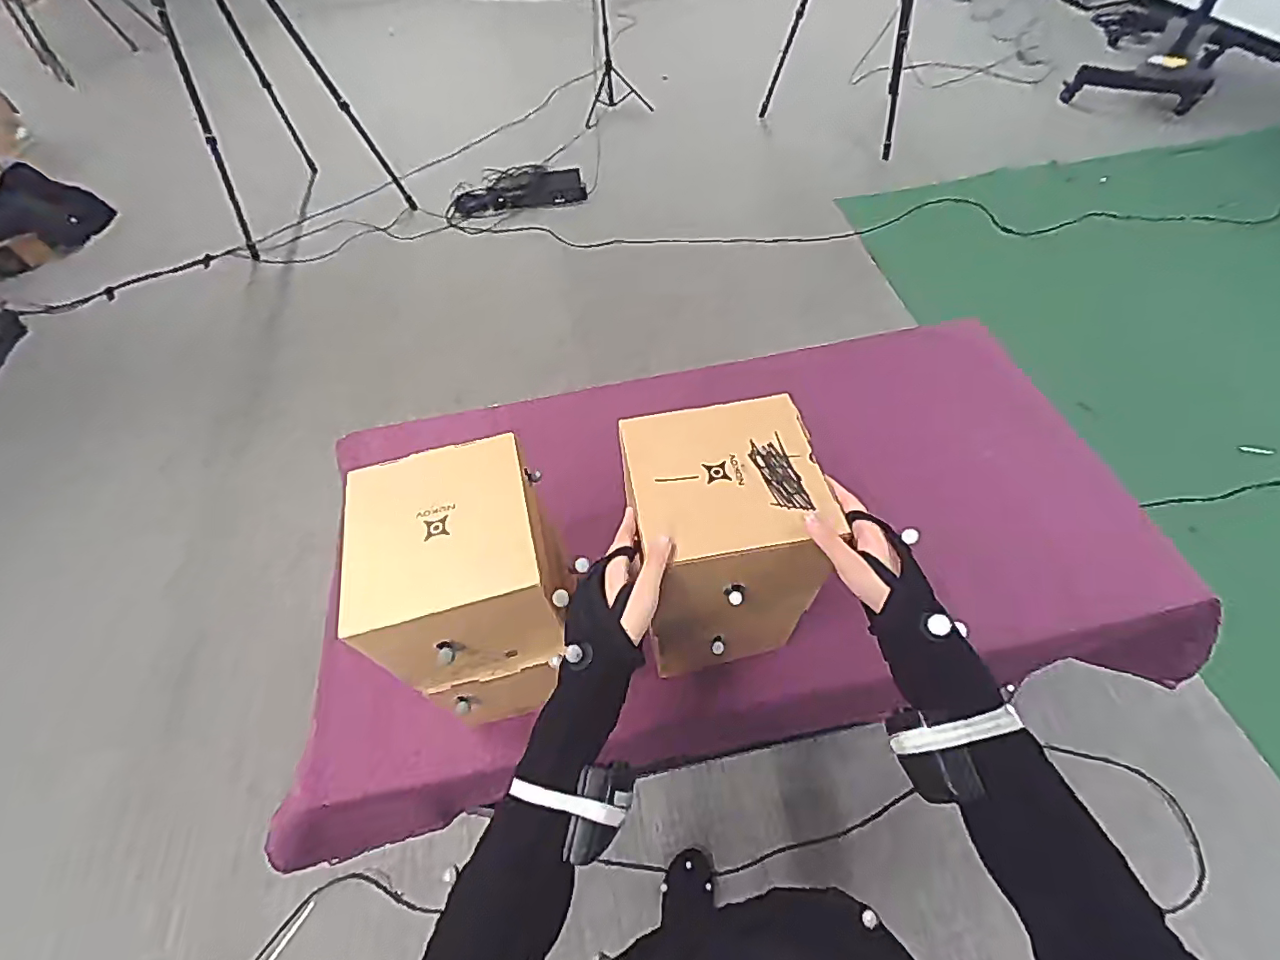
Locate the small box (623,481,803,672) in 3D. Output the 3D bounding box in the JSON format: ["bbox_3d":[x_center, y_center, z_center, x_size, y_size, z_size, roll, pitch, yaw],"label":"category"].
[{"bbox_3d":[0.086,0.130,0.695,0.179,0.176,0.168,-13,56,-4],"label":"small box"}]

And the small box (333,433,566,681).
[{"bbox_3d":[-0.180,0.087,0.548,0.168,0.176,0.179,-15,54,-5],"label":"small box"}]
